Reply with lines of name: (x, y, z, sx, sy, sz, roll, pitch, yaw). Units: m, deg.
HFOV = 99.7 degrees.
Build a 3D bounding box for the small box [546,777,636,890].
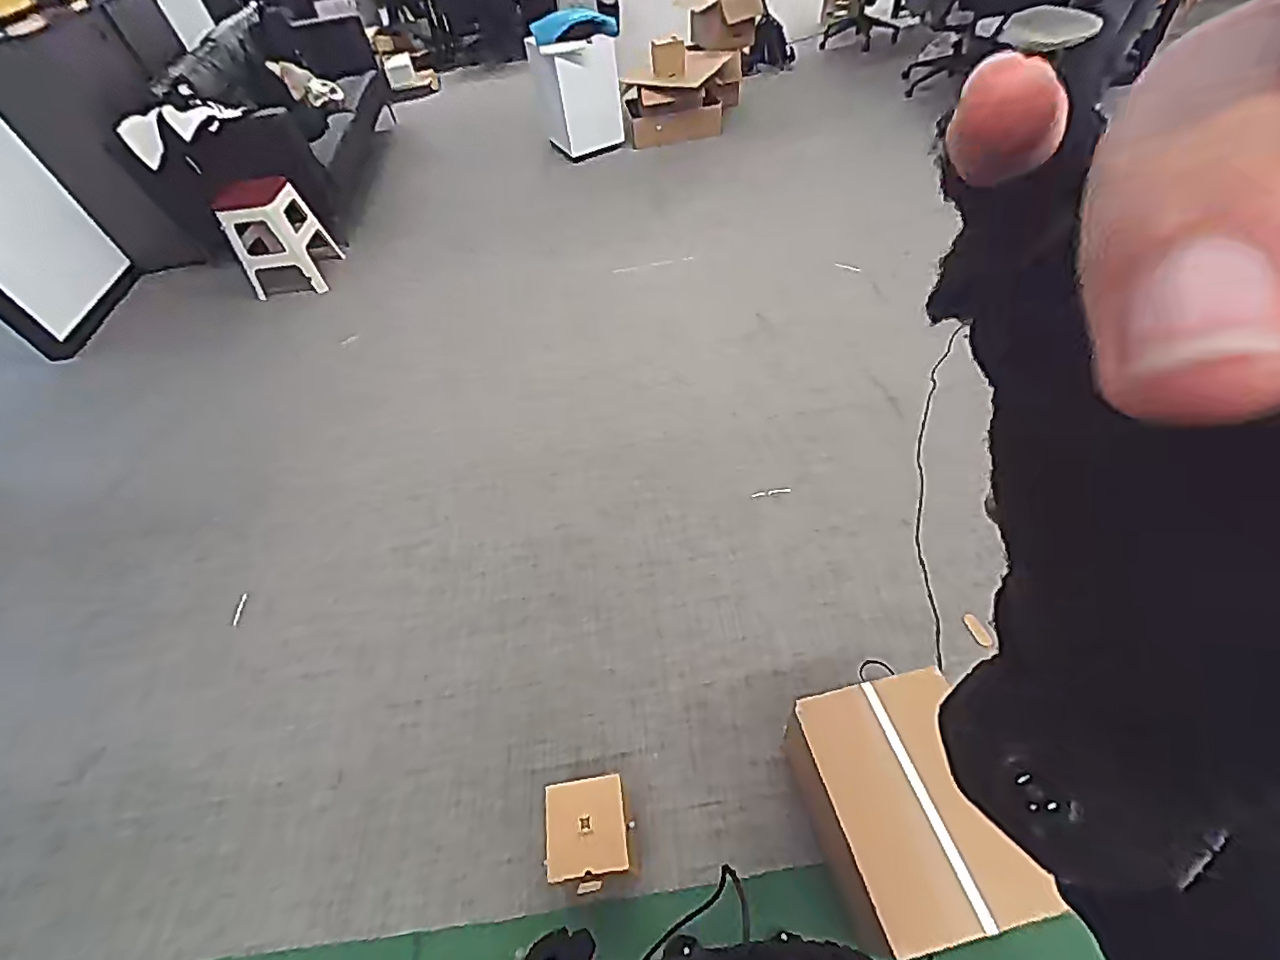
small box: (-0.106, 0.776, 1.184, 0.168, 0.176, 0.179, -10, 51, 0)
